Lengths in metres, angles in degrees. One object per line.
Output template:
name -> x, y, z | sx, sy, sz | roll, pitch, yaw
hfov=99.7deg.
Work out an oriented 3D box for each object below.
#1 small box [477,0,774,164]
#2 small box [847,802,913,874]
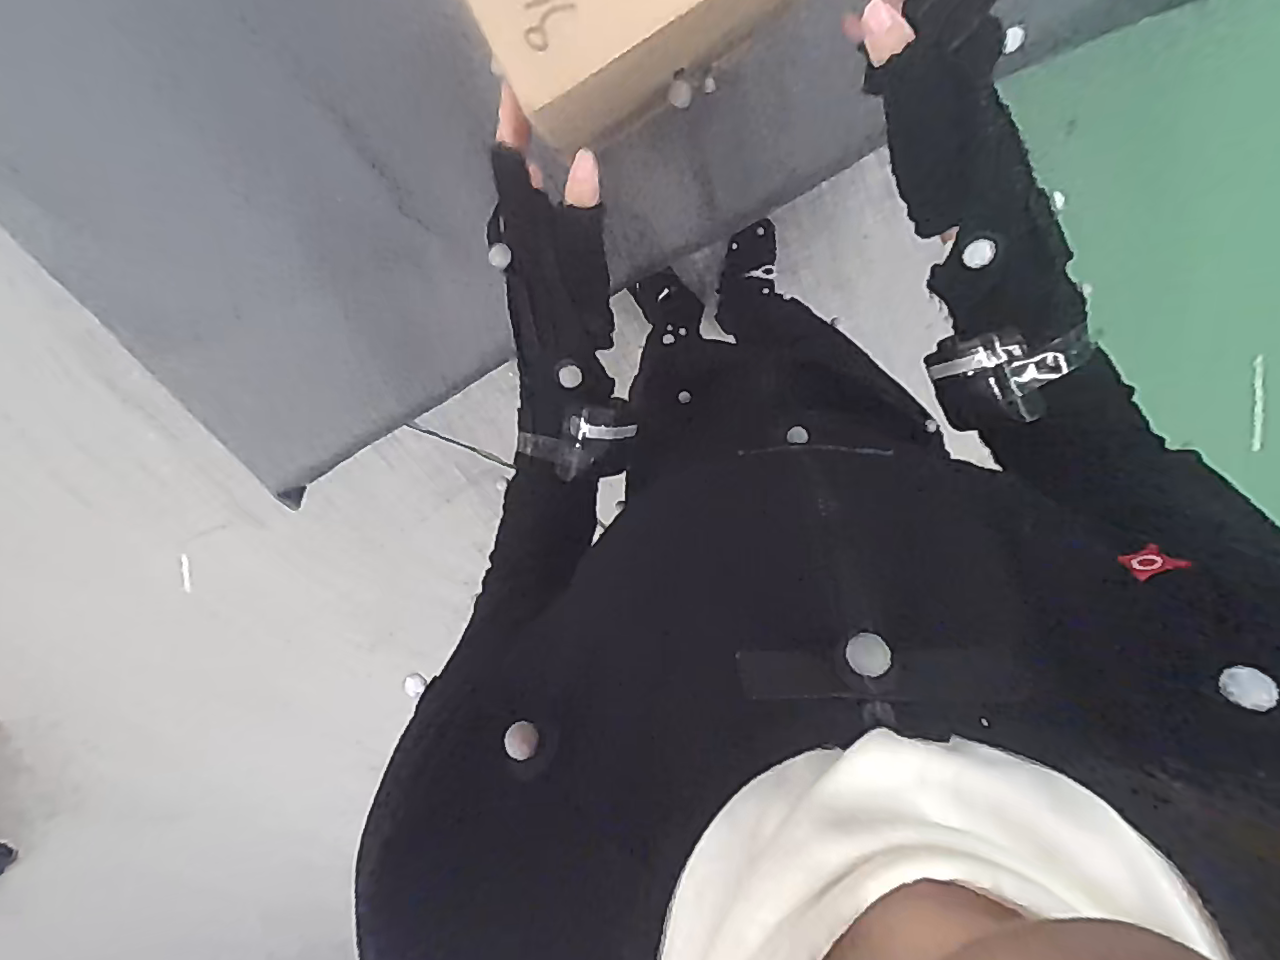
small box -> -0.025, -0.375, 0.418 | 0.179, 0.176, 0.168 | -28, 114, 12
small box -> 0.978, 1.474, 2.229 | 0.179, 0.176, 0.168 | -35, 113, 15
